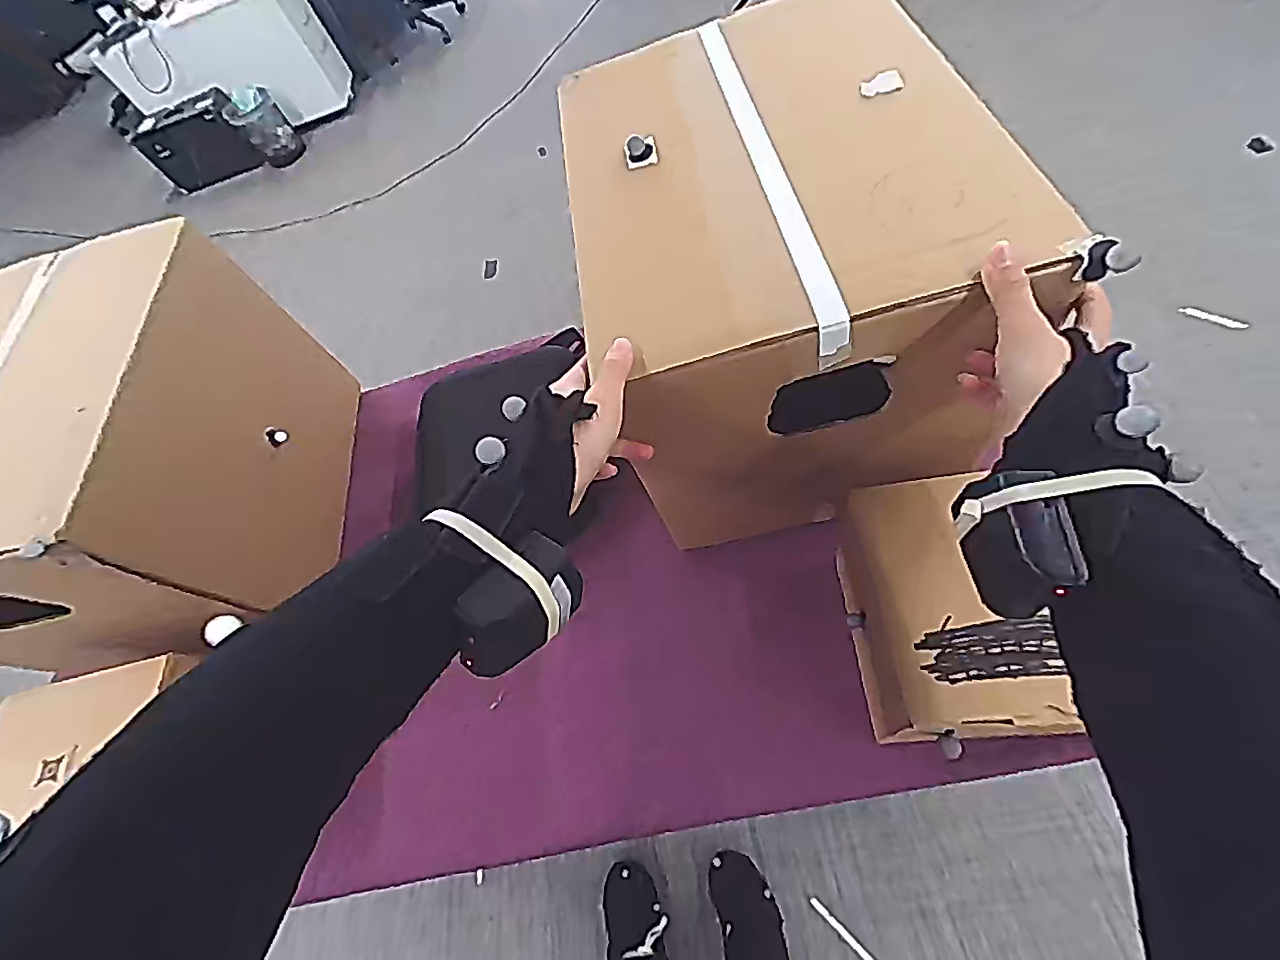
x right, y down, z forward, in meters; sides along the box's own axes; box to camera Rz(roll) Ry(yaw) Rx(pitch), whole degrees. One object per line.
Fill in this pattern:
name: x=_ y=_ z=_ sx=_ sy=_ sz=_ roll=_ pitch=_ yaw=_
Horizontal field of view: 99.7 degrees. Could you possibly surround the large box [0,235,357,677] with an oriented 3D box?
large box: x=-0.591 y=-0.009 z=0.664 sx=0.320 sy=0.320 sz=0.408 roll=-14 pitch=62 yaw=6
